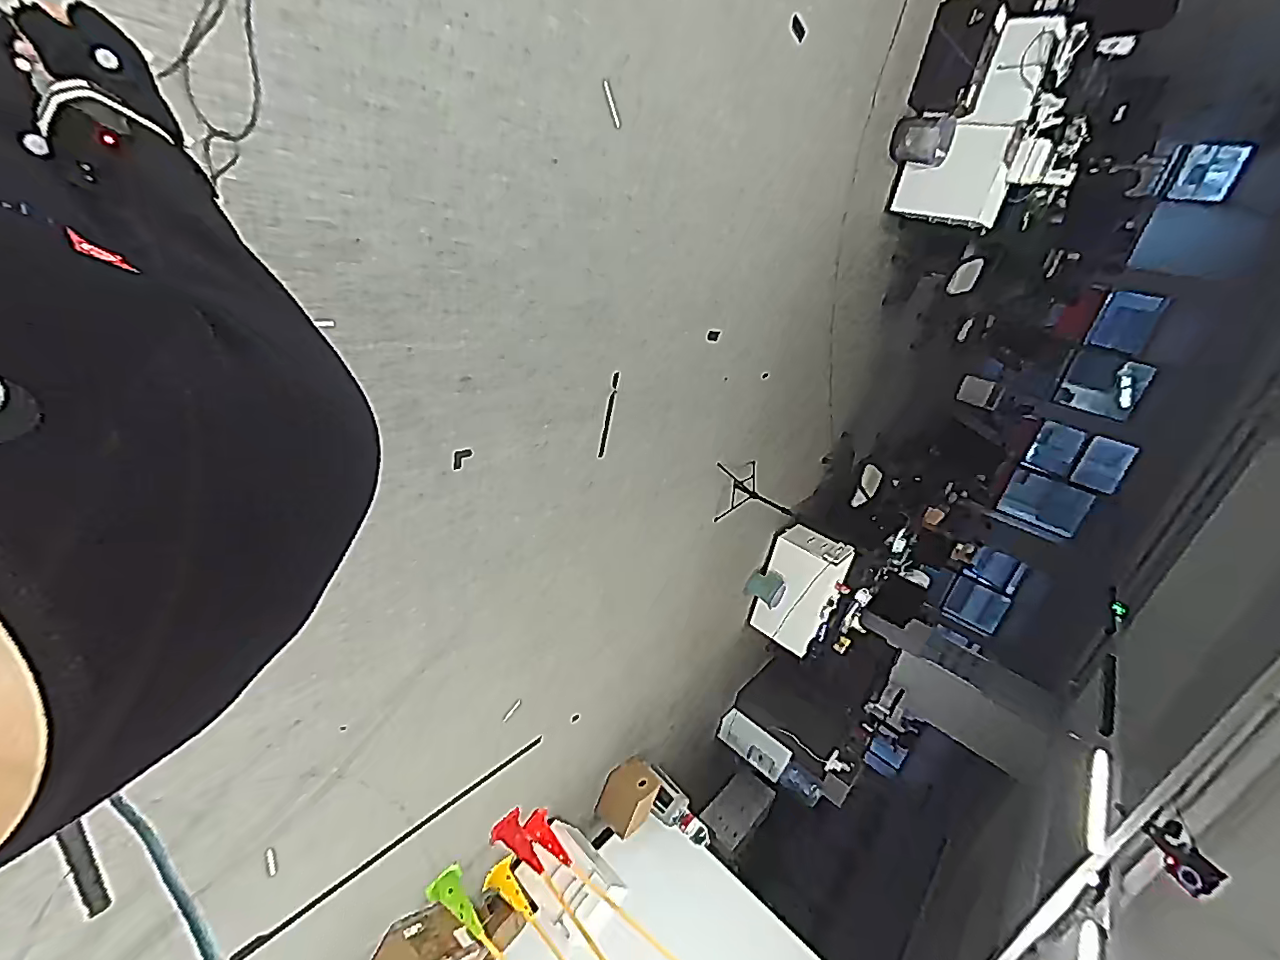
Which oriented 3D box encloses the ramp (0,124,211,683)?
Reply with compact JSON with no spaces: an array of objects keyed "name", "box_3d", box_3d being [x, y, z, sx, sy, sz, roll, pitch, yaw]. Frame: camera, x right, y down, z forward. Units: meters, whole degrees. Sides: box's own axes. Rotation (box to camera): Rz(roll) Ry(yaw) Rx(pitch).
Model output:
[{"name":"ramp","box_3d":[-1.178,-0.094,0.968,0.509,0.206,0.991,-20,129,-44]}]
